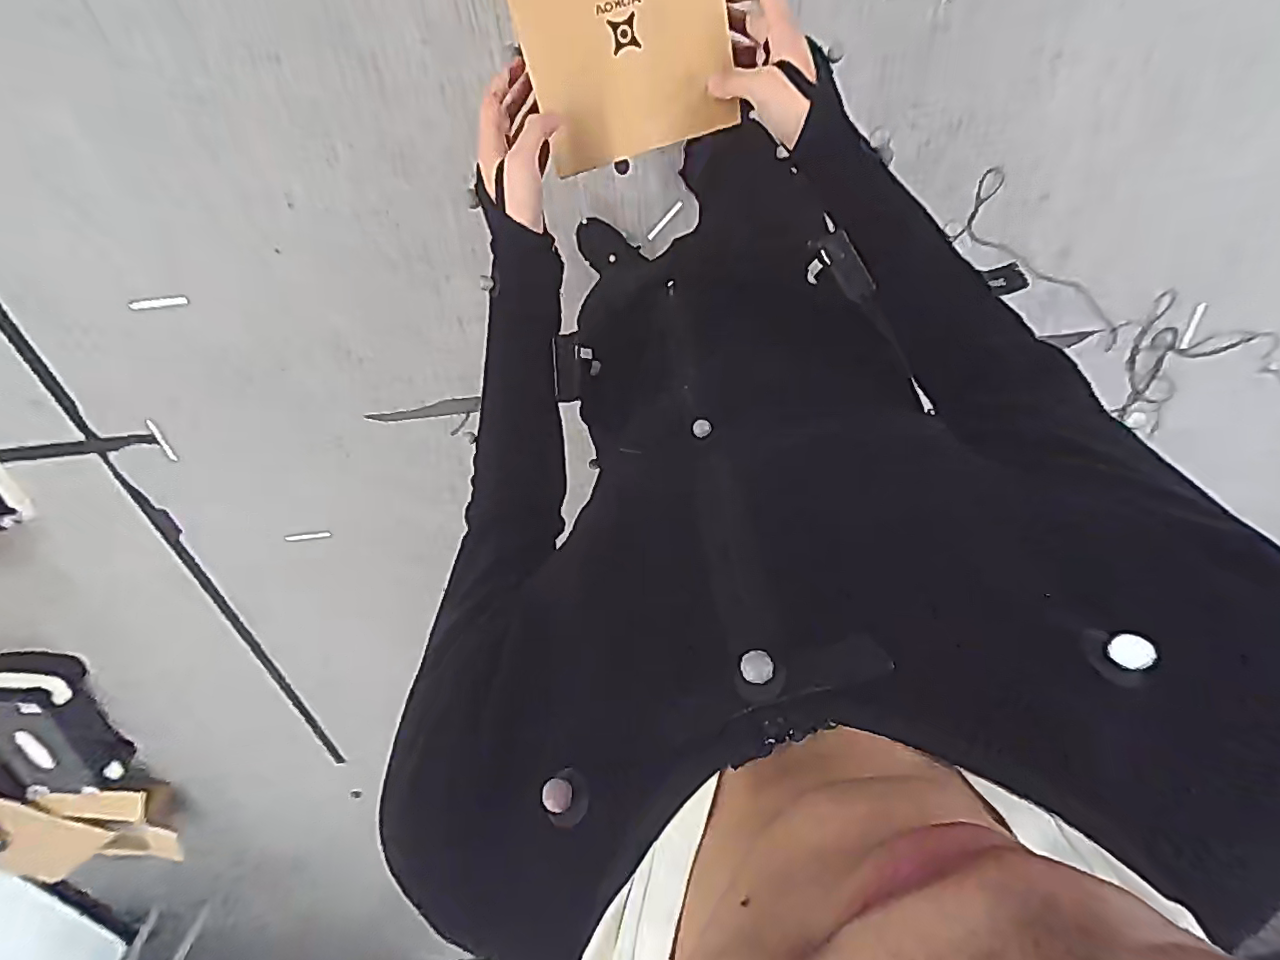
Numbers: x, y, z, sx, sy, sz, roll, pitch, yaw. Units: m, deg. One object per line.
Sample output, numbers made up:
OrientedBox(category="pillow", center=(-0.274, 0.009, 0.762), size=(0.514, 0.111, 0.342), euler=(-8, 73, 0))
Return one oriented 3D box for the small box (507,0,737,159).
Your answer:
OrientedBox(category="small box", center=(-0.023, -0.405, 0.478), size=(0.168, 0.176, 0.179), euler=(-15, 121, 3))
